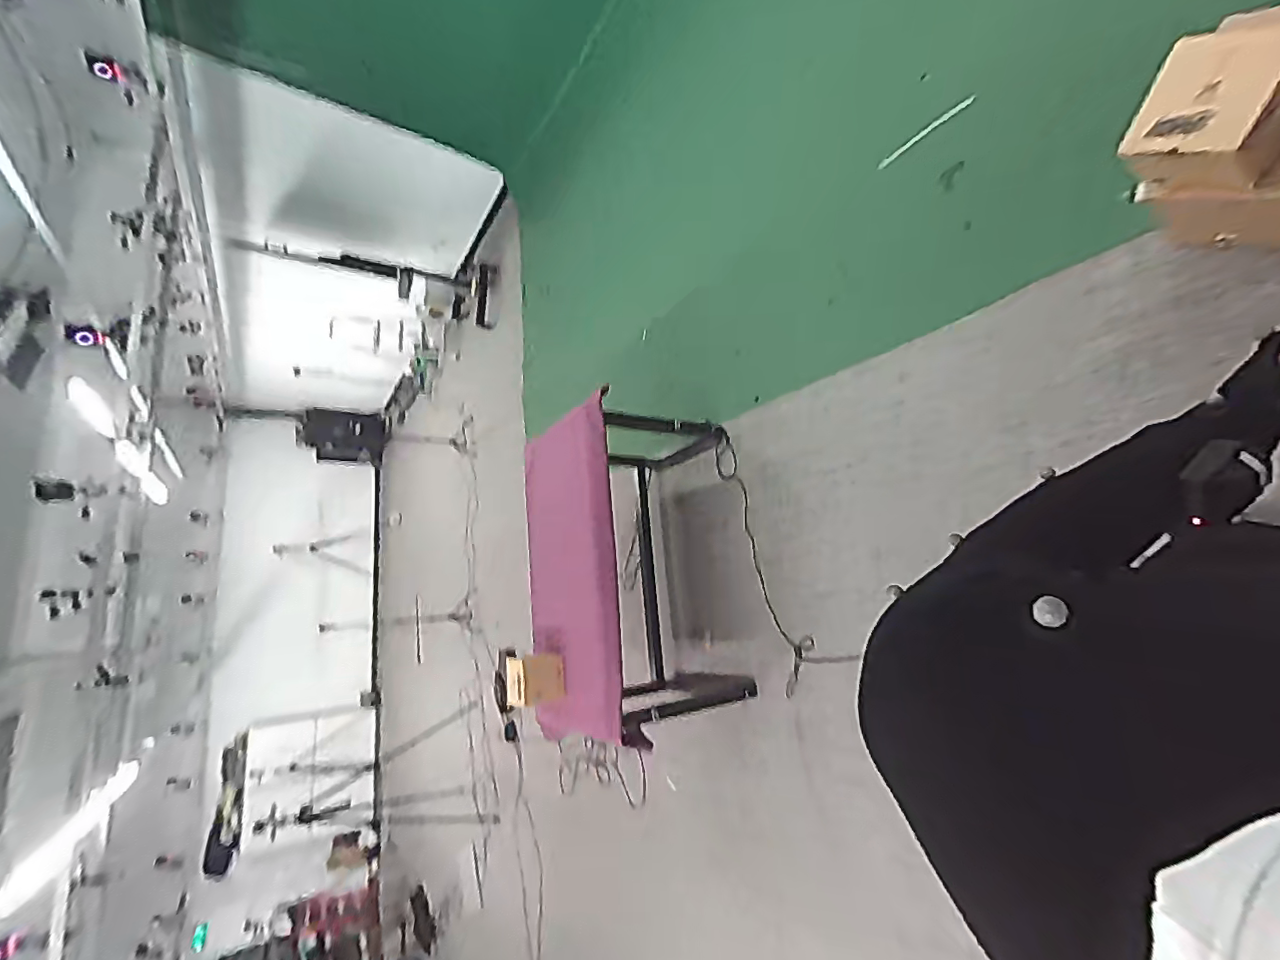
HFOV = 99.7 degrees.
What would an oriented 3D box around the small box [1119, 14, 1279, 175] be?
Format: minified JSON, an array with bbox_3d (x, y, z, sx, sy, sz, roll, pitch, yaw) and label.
[{"bbox_3d":[0.980,-0.637,0.915,0.168,0.176,0.179,42,122,47],"label":"small box"}]
